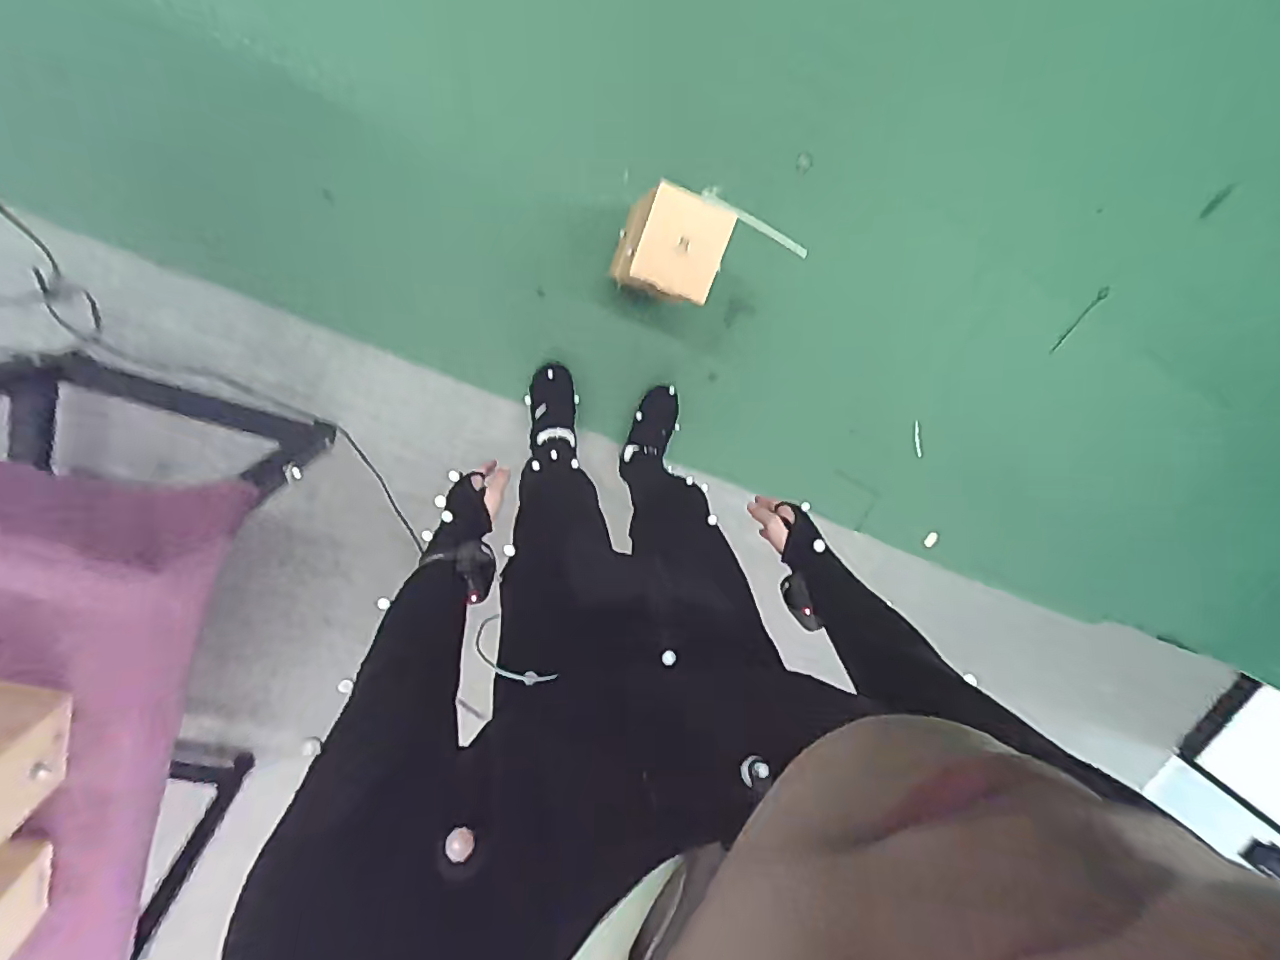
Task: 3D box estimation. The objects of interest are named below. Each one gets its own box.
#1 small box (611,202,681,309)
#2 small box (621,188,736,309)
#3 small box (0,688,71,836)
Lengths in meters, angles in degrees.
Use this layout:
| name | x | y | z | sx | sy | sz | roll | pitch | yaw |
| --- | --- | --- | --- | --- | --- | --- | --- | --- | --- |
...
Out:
| name | x | y | z | sx | sy | sz | roll | pitch | yaw |
| --- | --- | --- | --- | --- | --- | --- | --- | --- | --- |
| small box | 0.037 | -0.521 | 1.273 | 0.168 | 0.176 | 0.179 | 18 | 105 | -16 |
| small box | 0.069 | -0.472 | 1.122 | 0.168 | 0.176 | 0.179 | 17 | 107 | -16 |
| small box | -0.869 | 0.366 | 0.656 | 0.179 | 0.176 | 0.168 | 19 | 106 | -15 |
